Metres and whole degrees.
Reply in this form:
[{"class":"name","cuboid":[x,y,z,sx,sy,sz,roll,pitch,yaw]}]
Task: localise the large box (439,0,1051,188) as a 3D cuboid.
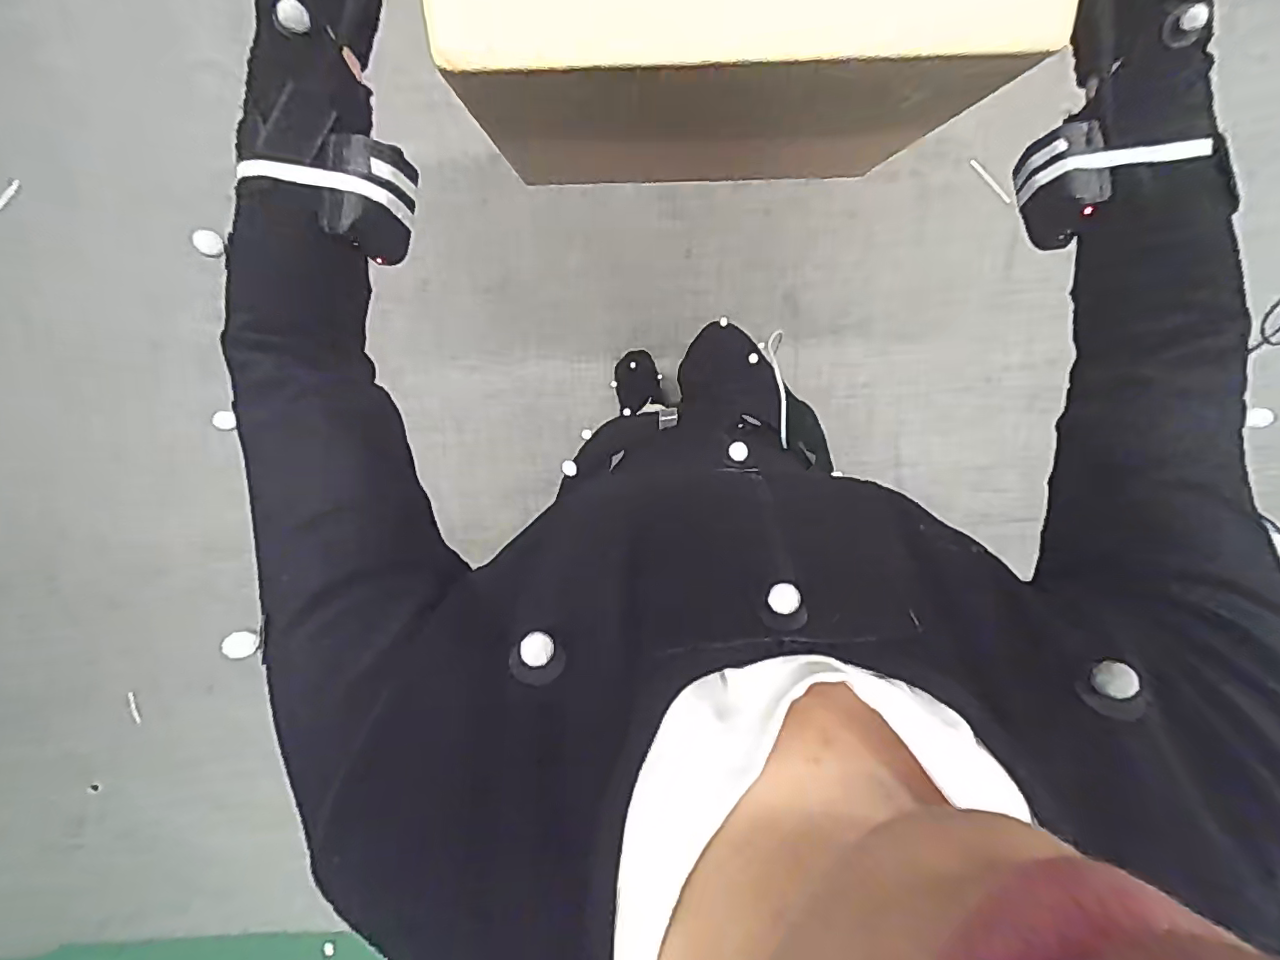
[{"class":"large box","cuboid":[0.058,-0.463,0.459,0.408,0.320,0.320,-3,107,-1]}]
